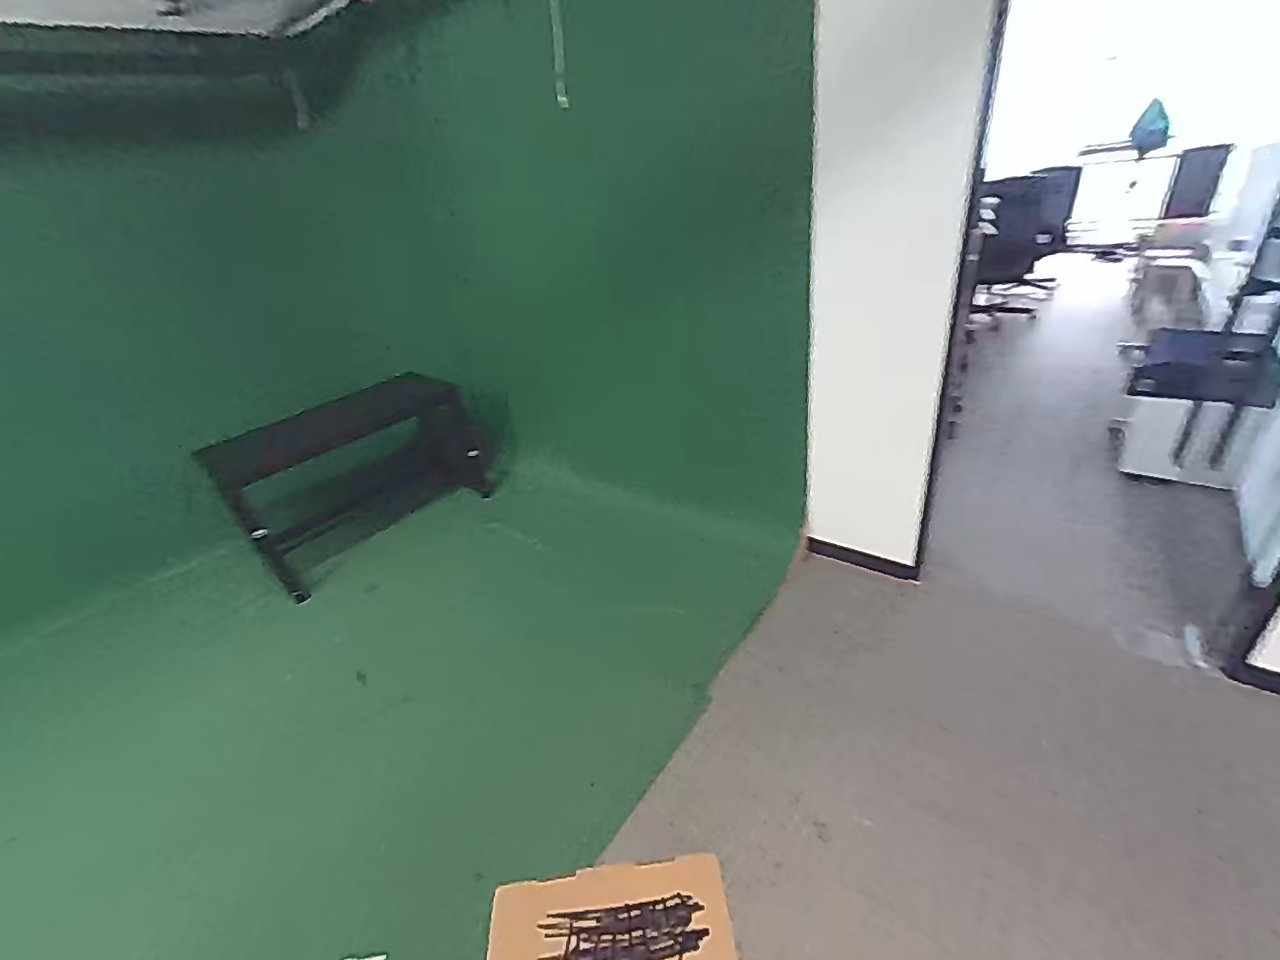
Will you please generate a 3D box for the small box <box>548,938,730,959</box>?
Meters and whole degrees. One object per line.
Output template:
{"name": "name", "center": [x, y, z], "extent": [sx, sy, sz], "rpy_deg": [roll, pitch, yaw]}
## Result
{"name": "small box", "center": [0.010, 0.531, 0.450], "extent": [0.168, 0.176, 0.179], "rpy_deg": [-6, 29, 0]}
